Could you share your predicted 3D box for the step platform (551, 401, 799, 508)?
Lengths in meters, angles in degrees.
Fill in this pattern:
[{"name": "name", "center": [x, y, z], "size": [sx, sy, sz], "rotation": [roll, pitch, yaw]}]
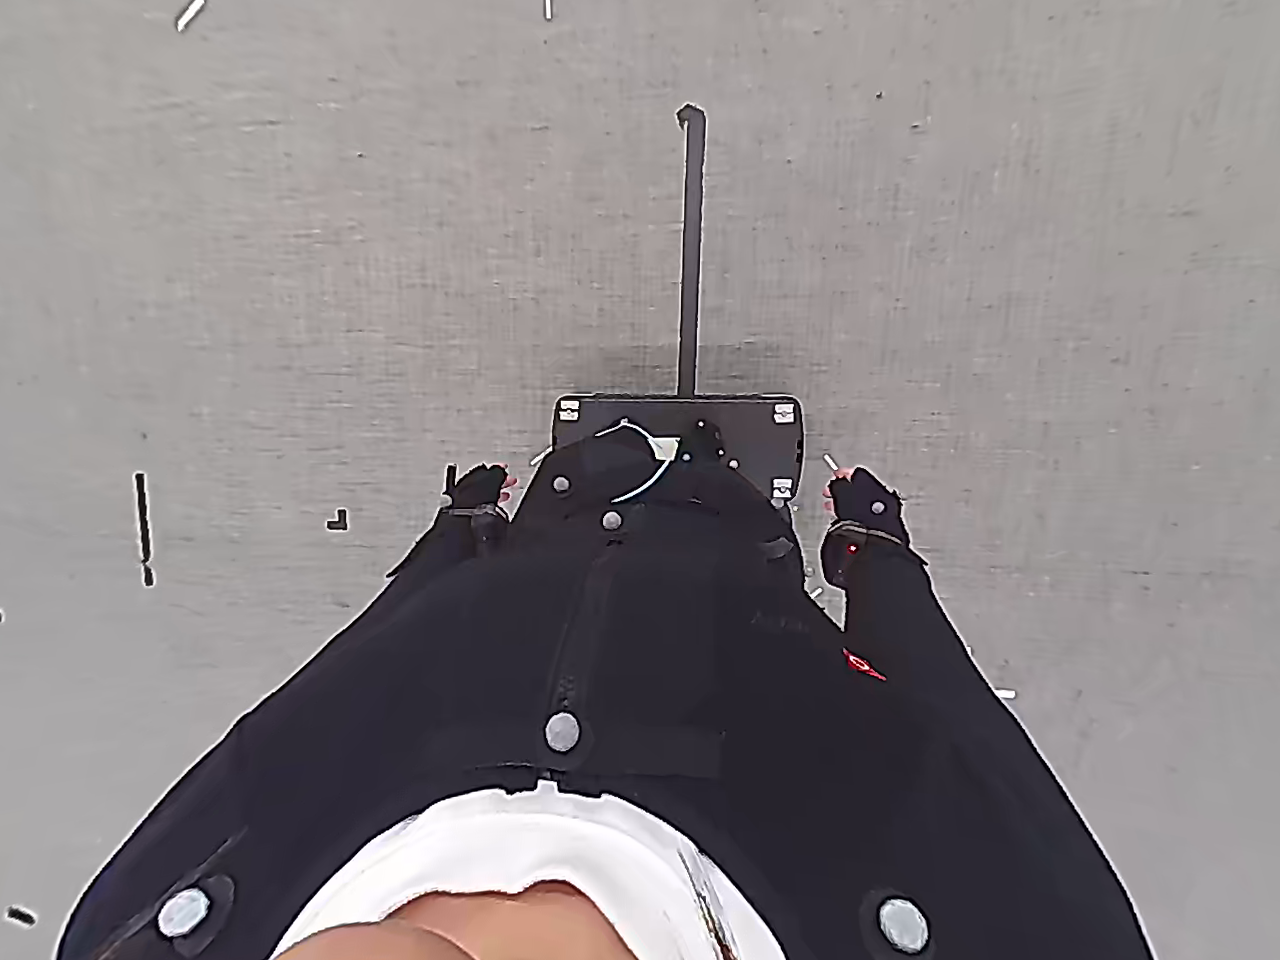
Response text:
[{"name": "step platform", "center": [0.093, -0.076, 1.523], "size": [0.684, 0.204, 0.286], "rotation": [0, 99, 6]}]
